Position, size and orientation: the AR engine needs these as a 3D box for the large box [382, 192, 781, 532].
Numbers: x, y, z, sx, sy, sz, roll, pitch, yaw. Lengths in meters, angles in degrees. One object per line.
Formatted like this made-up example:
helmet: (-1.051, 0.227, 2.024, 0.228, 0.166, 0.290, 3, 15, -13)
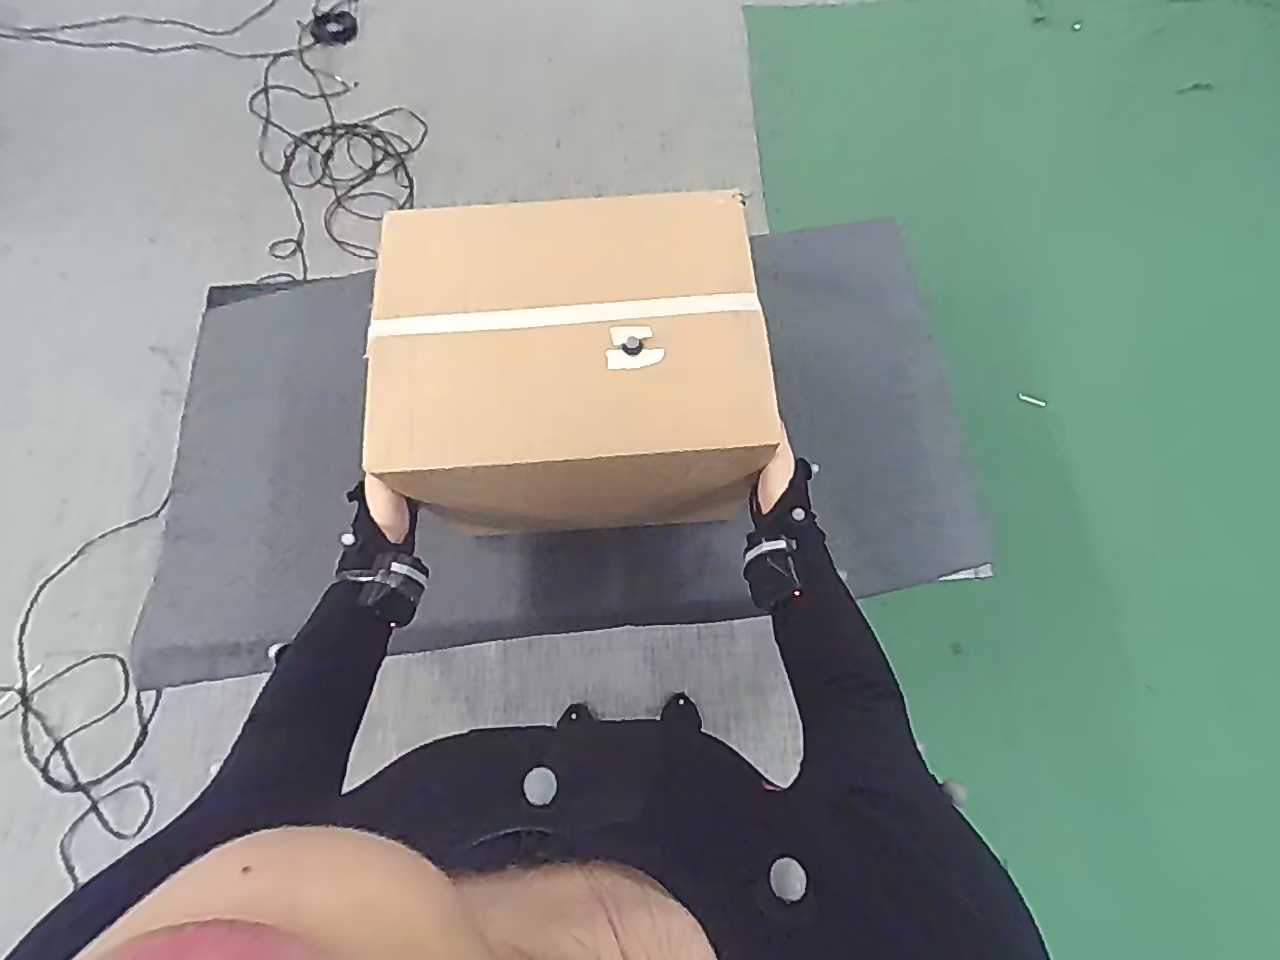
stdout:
large box: (-0.069, -0.128, 0.717, 0.408, 0.320, 0.320, -4, 73, -1)
